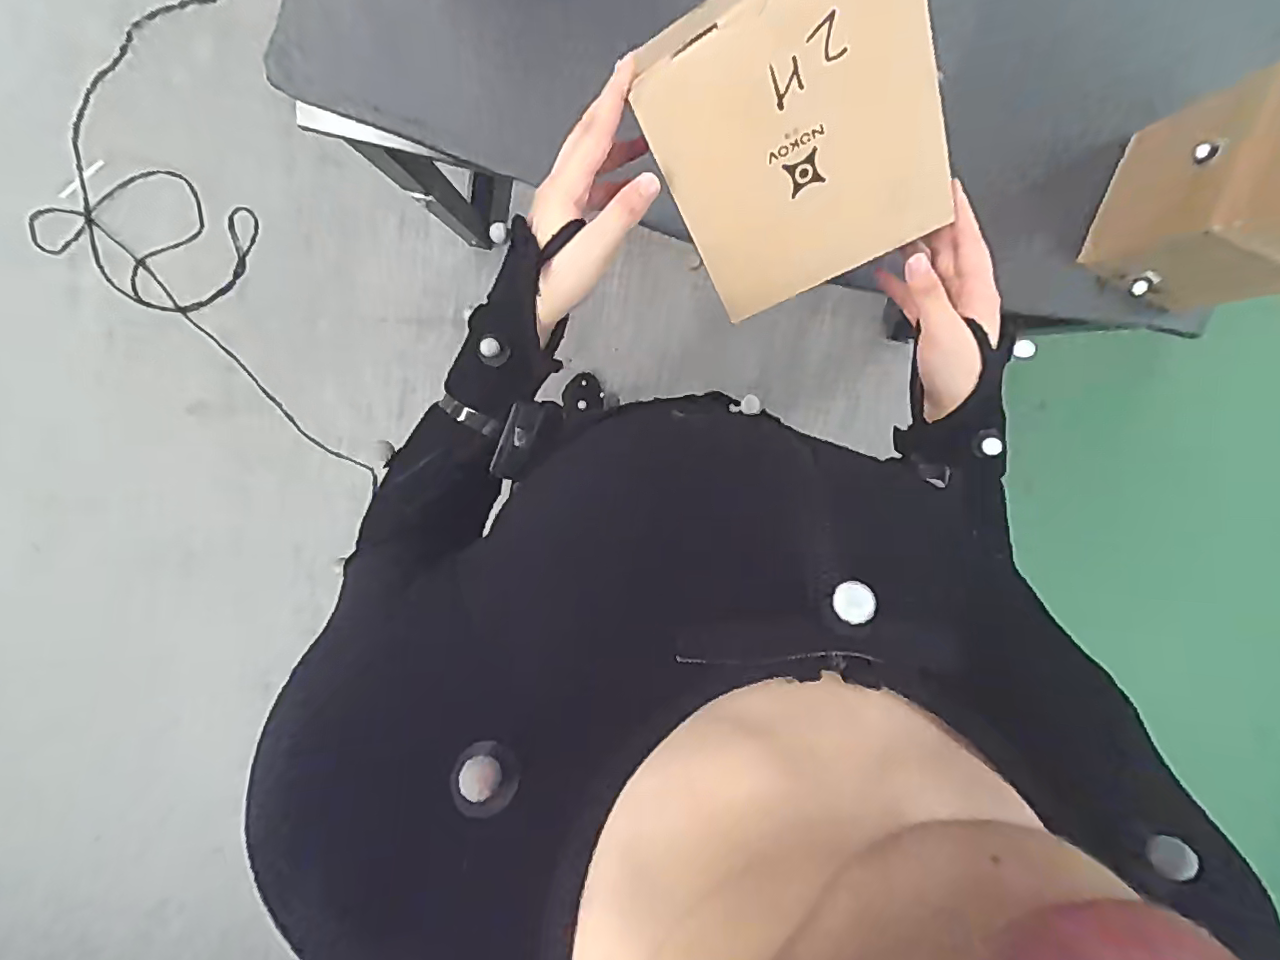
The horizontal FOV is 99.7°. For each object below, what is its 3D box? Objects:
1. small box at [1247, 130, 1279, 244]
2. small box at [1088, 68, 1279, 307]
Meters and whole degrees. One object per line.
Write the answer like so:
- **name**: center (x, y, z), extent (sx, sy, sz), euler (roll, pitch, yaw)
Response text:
- **small box**: center (0.702, -0.294, 0.463), extent (0.168, 0.176, 0.179), euler (17, 96, -5)
- **small box**: center (0.679, -0.321, 0.622), extent (0.168, 0.176, 0.179), euler (19, 98, -5)
